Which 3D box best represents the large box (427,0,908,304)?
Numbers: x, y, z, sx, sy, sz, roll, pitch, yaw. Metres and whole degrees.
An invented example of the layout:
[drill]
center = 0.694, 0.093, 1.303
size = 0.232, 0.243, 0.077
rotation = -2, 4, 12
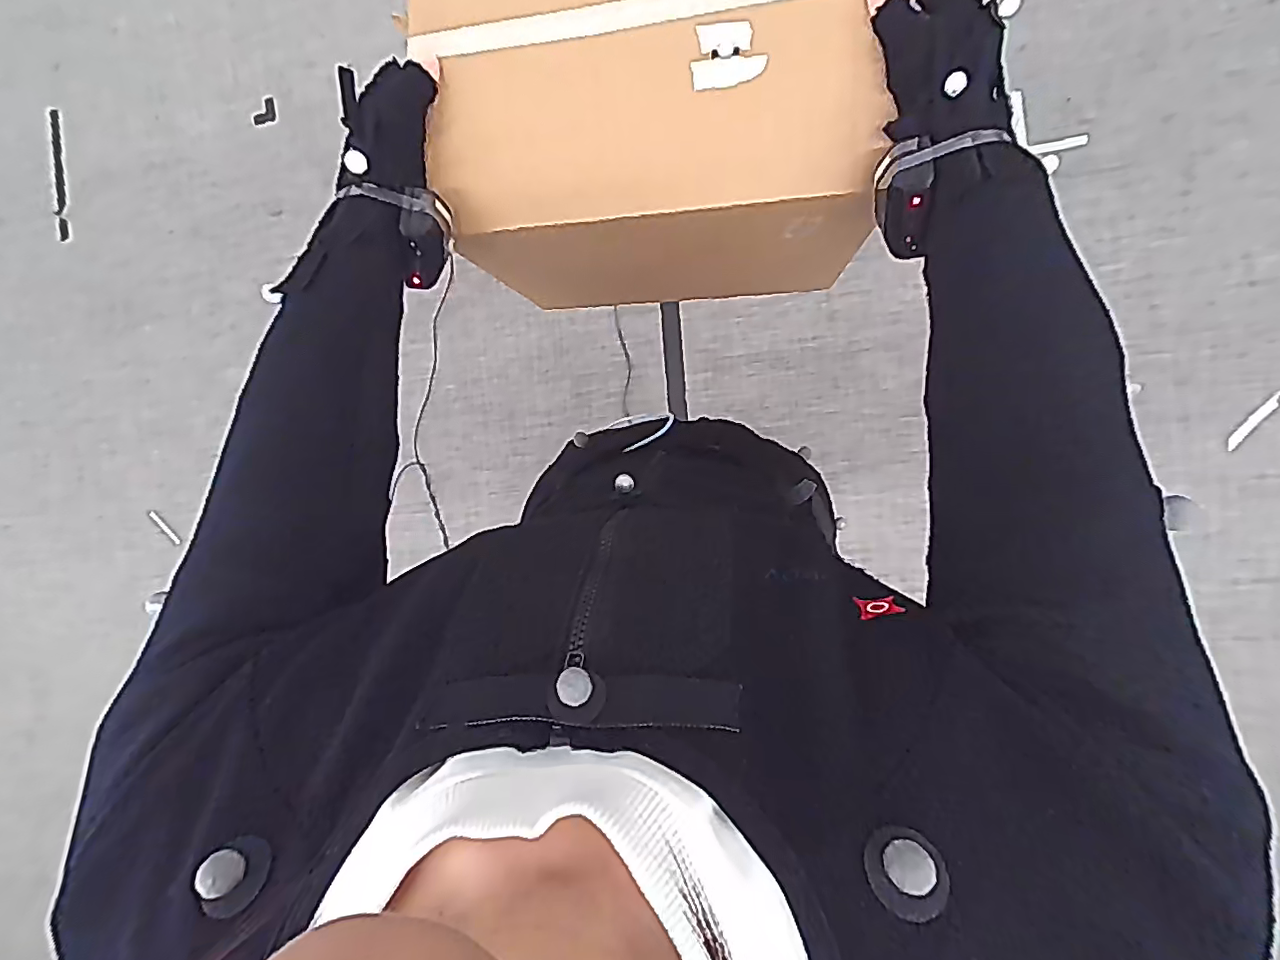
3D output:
[large box]
center = 0.029, -0.400, 0.595
size = 0.408, 0.320, 0.320
rotation = -2, 96, 8
